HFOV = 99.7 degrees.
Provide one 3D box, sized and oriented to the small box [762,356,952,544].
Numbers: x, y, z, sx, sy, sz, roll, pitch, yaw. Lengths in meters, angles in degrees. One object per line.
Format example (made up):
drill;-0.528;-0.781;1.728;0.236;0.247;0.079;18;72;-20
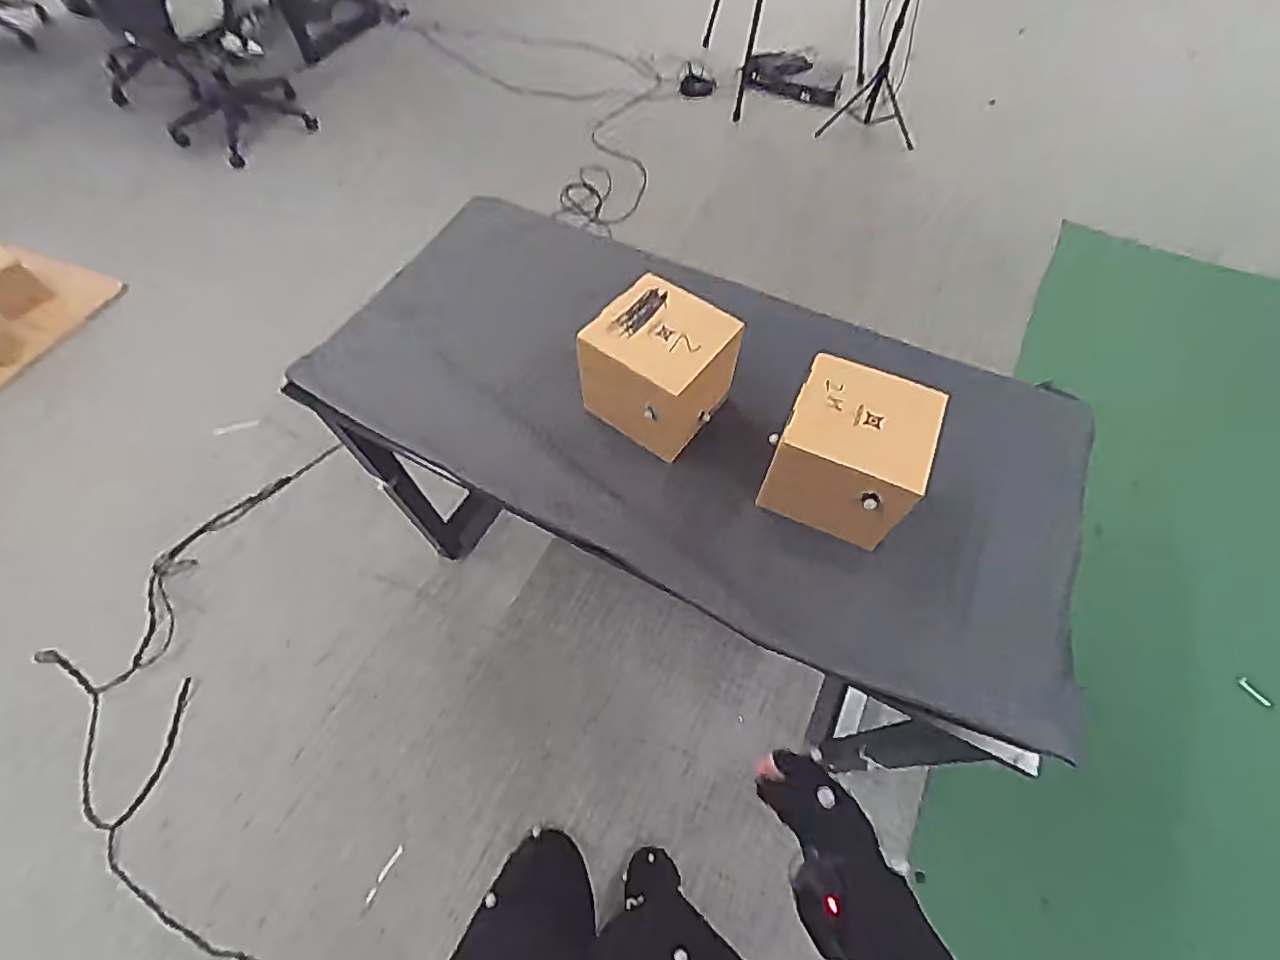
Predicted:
small box;0.288;-0.033;0.744;0.179;0.176;0.168;23;62;13
